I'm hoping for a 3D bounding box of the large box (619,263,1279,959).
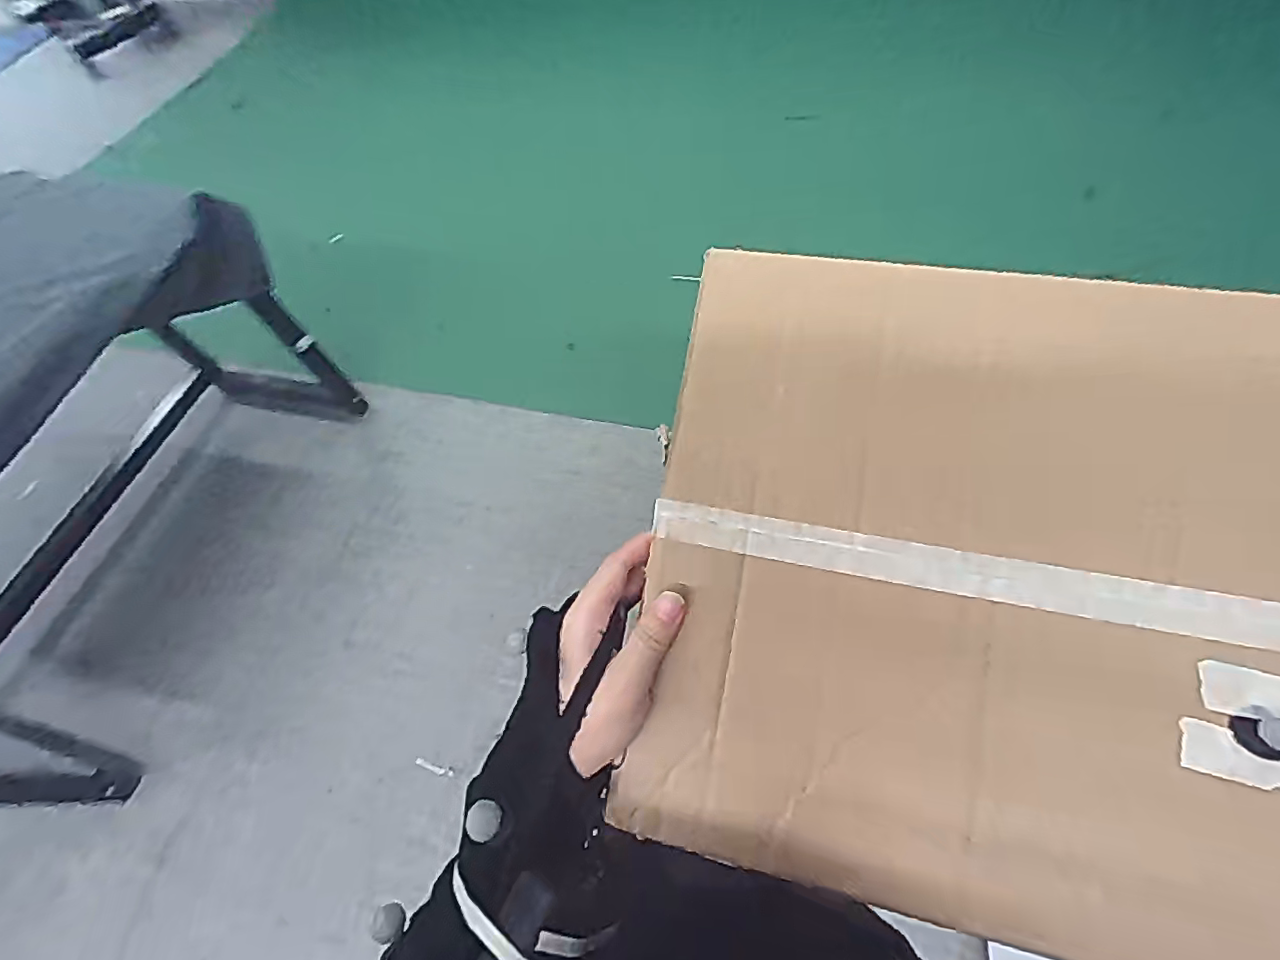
[{"bbox_3d":[0.223,0.070,0.414,0.408,0.320,0.320,9,83,9],"label":"large box"}]
